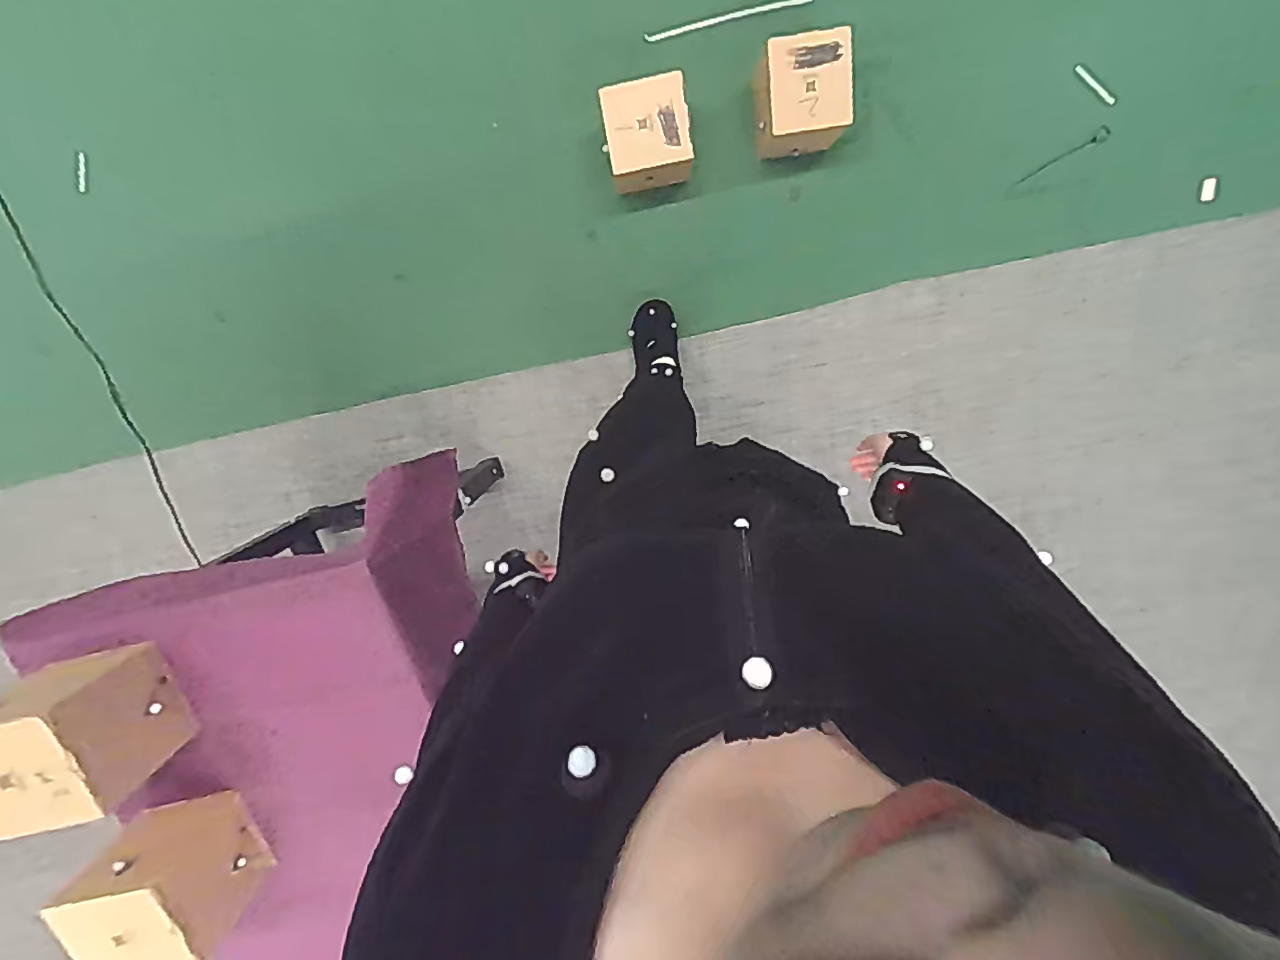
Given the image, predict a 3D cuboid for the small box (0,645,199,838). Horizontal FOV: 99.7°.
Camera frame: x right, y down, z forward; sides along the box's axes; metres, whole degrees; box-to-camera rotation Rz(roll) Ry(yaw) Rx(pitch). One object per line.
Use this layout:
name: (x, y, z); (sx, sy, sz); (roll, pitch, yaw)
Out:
small box: (-0.796, 0.361, 0.768); (0.179, 0.176, 0.168); (-13, 105, 2)

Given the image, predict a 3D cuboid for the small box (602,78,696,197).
small box: (0.022, -0.750, 1.202); (0.179, 0.176, 0.168); (-9, 104, 6)

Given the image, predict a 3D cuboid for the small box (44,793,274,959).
small box: (-0.731, 0.632, 0.845); (0.179, 0.176, 0.168); (-14, 104, 4)
